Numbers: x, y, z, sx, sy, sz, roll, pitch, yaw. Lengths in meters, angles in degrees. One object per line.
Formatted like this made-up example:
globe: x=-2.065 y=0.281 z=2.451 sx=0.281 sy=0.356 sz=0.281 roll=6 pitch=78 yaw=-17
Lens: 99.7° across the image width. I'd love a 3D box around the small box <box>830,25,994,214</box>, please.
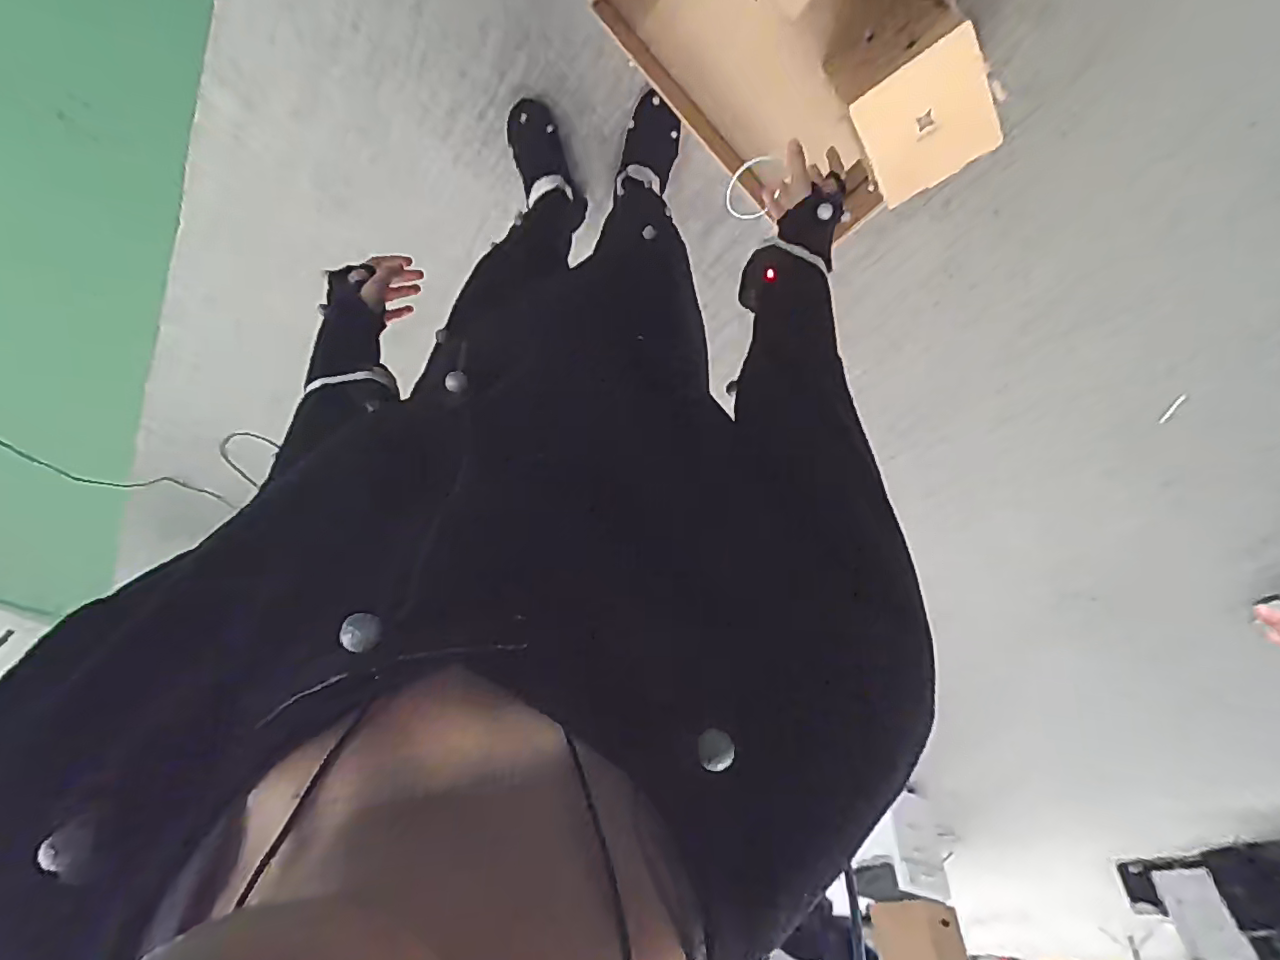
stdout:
small box: x=0.413 y=-0.562 z=0.842 sx=0.168 sy=0.176 sz=0.179 roll=-24 pitch=127 yaw=29
